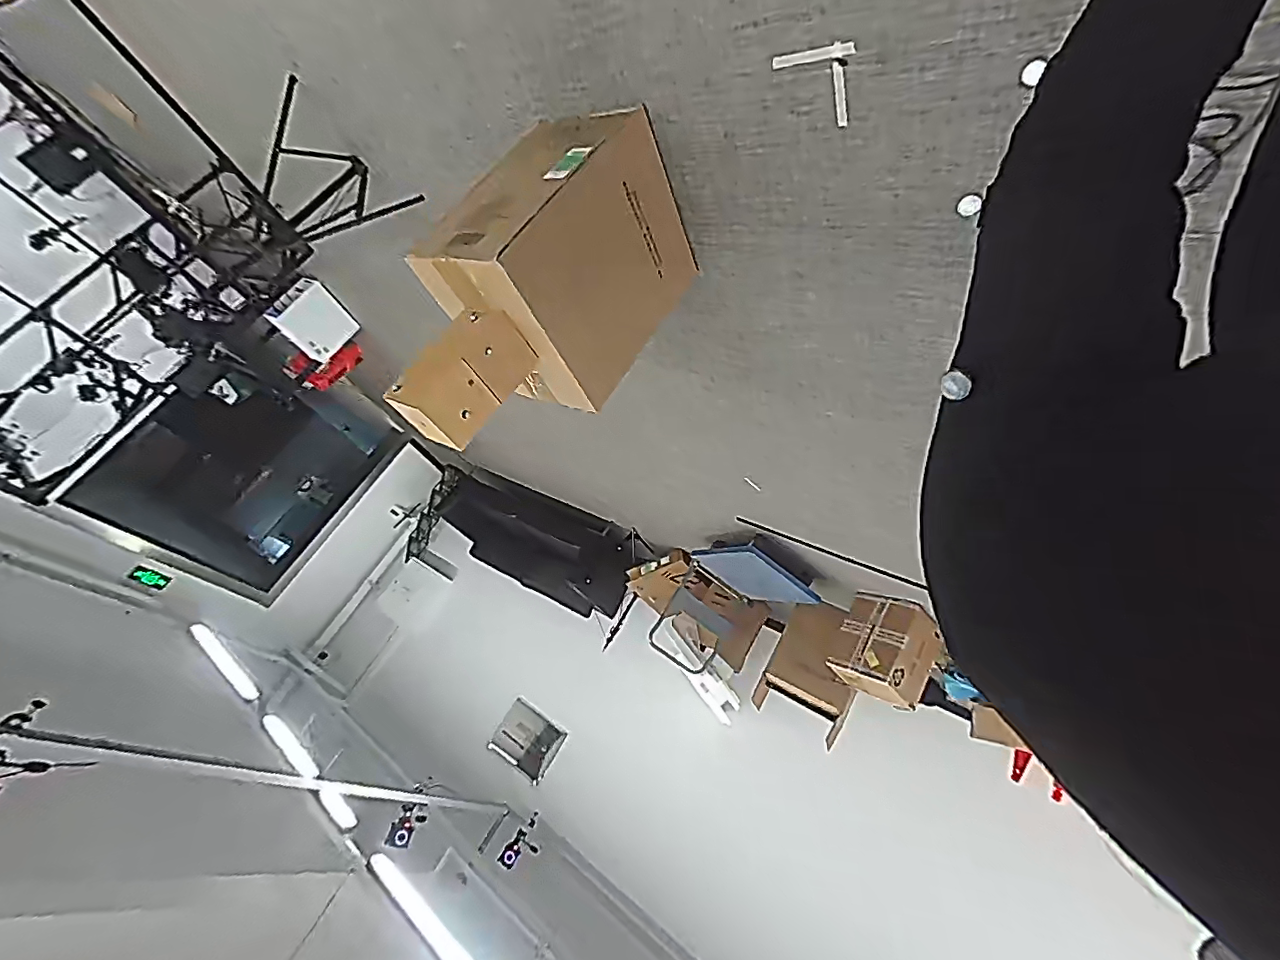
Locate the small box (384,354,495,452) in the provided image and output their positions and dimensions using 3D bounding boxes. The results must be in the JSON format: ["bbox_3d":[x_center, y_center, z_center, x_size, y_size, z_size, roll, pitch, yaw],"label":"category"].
[{"bbox_3d":[-0.496,-0.199,1.365,0.179,0.176,0.168,19,156,37],"label":"small box"}]
